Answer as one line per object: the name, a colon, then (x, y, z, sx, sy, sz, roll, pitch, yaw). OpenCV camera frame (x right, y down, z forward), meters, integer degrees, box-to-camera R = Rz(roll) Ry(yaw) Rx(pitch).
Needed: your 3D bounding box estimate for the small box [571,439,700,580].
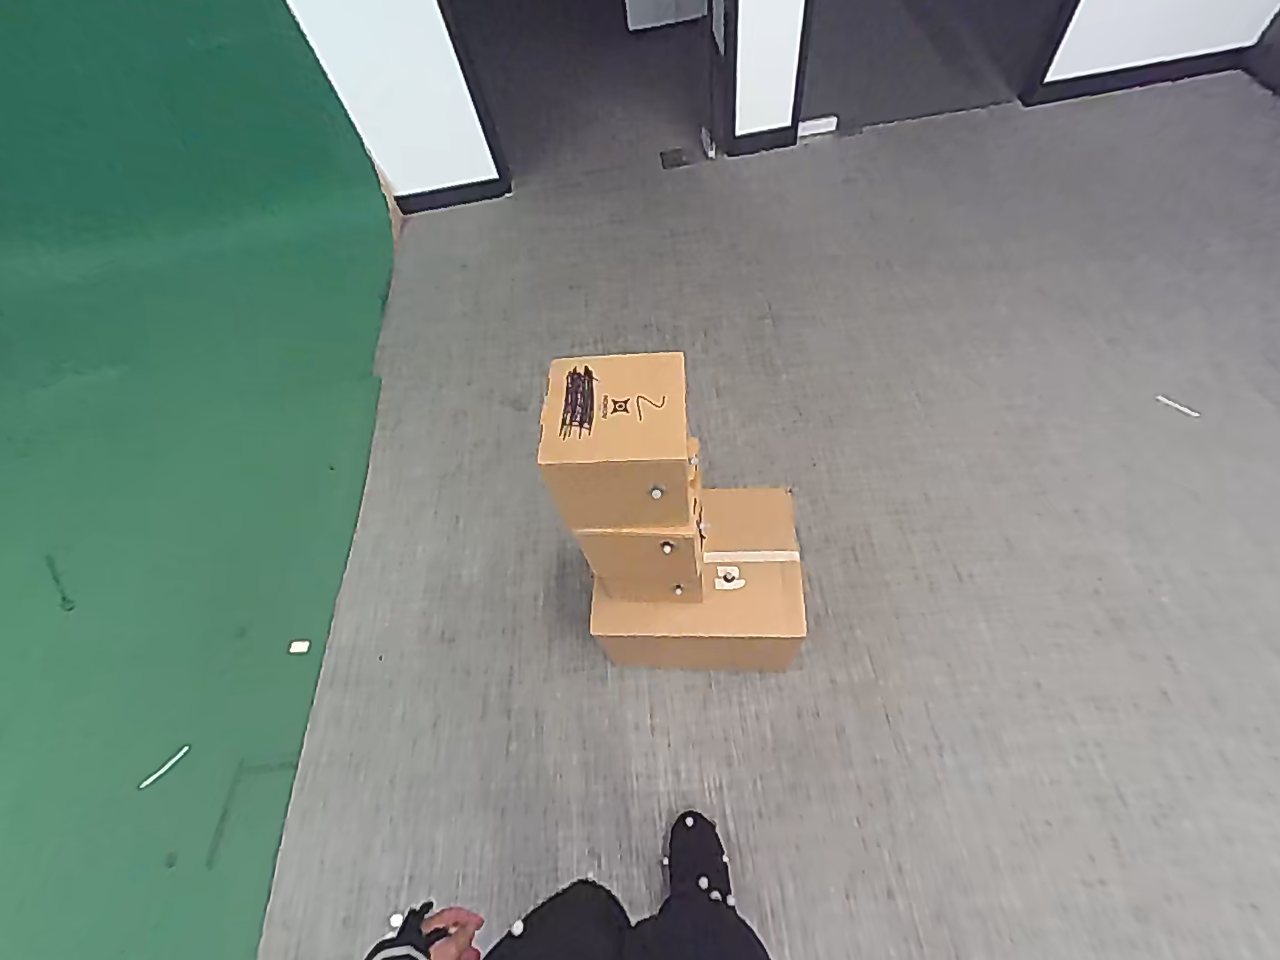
small box: (0.004, 0.050, 0.852, 0.179, 0.176, 0.168, 1, 58, 7)

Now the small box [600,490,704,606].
small box: (0.029, 0.127, 0.993, 0.179, 0.176, 0.168, -2, 58, 7)

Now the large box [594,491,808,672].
large box: (0.125, 0.236, 1.199, 0.408, 0.320, 0.320, -1, 61, 6)
